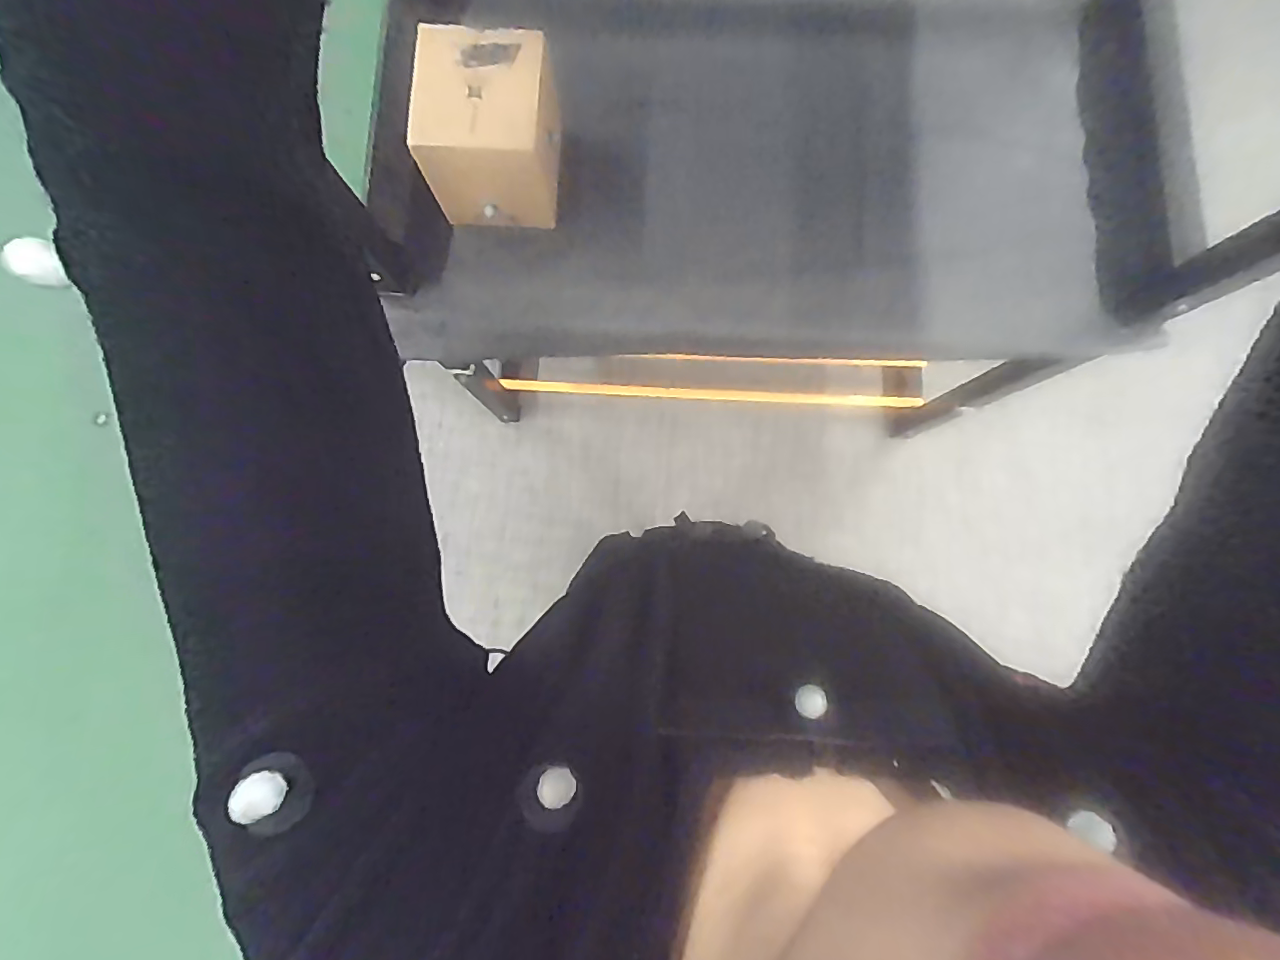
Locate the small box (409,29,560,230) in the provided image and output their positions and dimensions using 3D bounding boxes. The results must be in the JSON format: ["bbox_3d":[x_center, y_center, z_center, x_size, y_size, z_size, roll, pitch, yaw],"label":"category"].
[{"bbox_3d":[-0.210,-0.494,0.781,0.168,0.176,0.179,2,82,0],"label":"small box"}]
